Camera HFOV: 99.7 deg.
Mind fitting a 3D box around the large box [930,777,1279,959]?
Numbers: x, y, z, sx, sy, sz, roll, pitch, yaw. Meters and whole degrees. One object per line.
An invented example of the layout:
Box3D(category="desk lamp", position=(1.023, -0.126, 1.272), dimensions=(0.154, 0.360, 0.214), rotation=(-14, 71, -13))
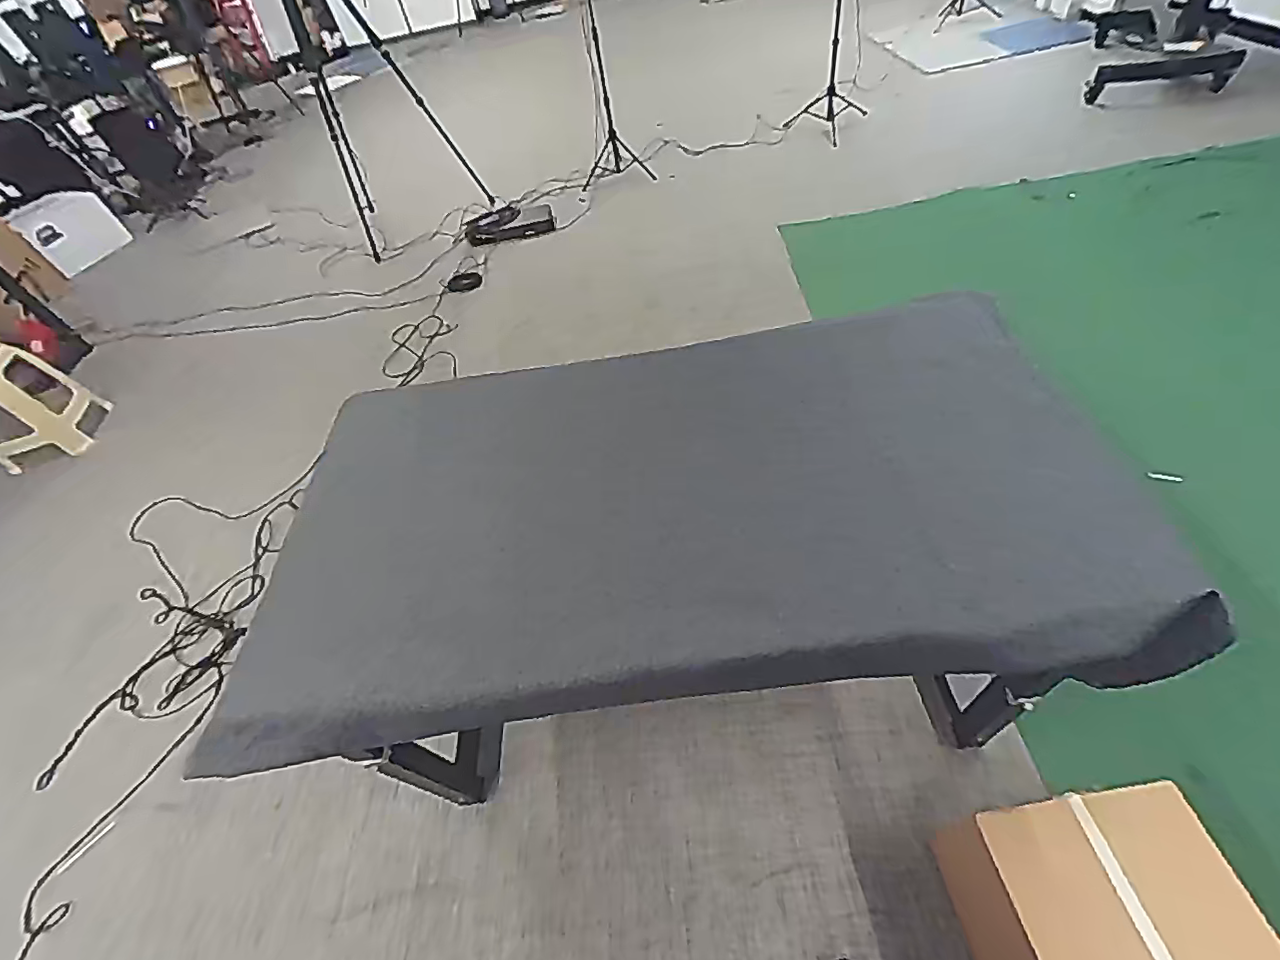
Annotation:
Box3D(category="large box", position=(0.728, 0.736, 0.838), dimensions=(0.320, 0.320, 0.408), rotation=(-12, 50, 3))
